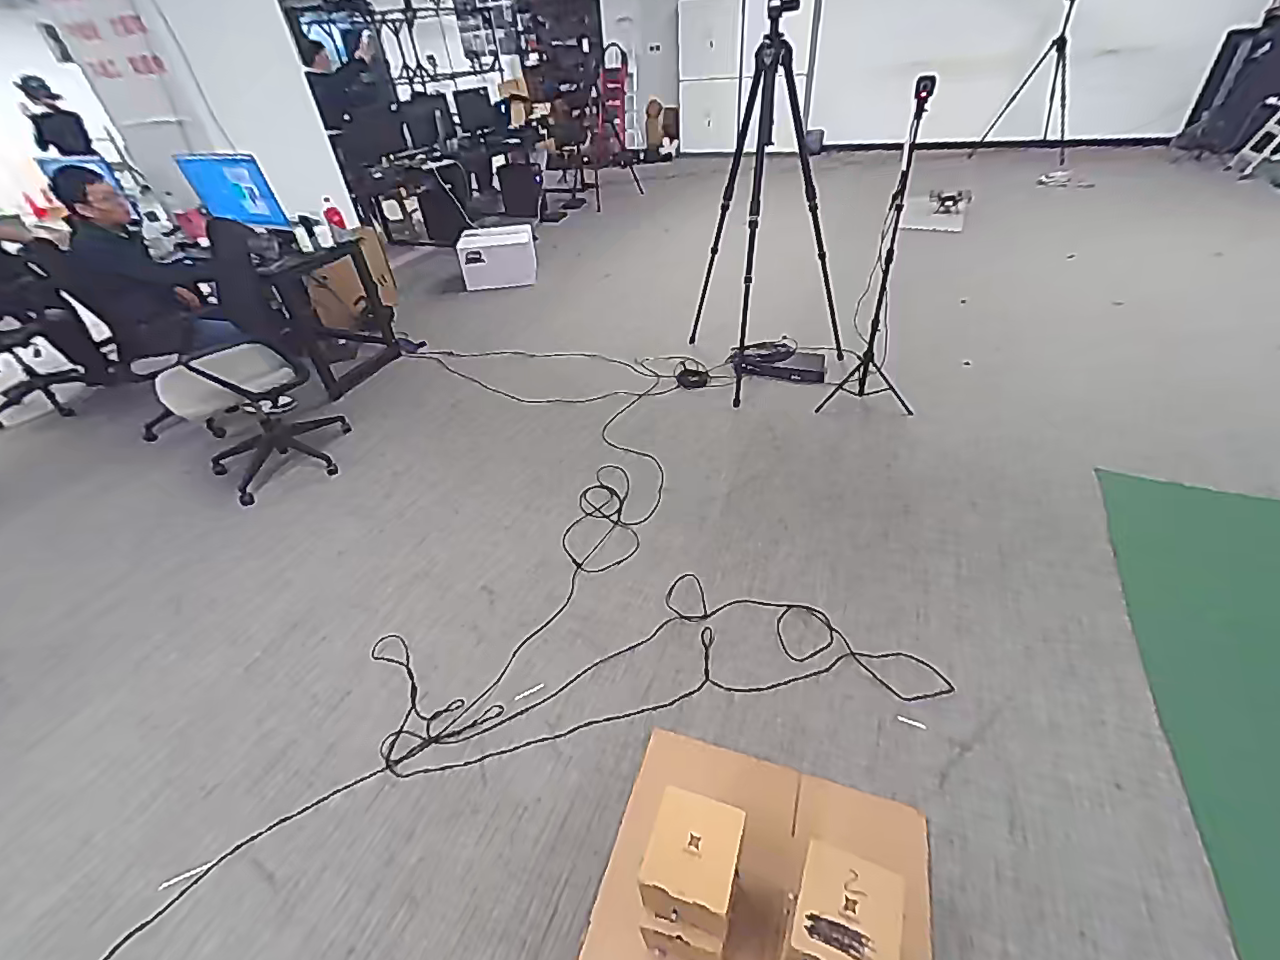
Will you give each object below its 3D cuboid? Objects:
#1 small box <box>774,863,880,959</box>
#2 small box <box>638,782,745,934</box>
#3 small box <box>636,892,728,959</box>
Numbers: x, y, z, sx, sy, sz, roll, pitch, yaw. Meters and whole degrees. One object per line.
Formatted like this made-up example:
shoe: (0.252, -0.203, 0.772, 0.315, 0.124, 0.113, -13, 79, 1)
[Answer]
small box: (0.368, 0.919, 1.077, 0.168, 0.176, 0.179, 12, 43, 22)
small box: (0.102, 0.741, 1.063, 0.168, 0.176, 0.179, 10, 42, 18)
small box: (0.101, 0.883, 1.148, 0.168, 0.176, 0.179, 8, 41, 16)
